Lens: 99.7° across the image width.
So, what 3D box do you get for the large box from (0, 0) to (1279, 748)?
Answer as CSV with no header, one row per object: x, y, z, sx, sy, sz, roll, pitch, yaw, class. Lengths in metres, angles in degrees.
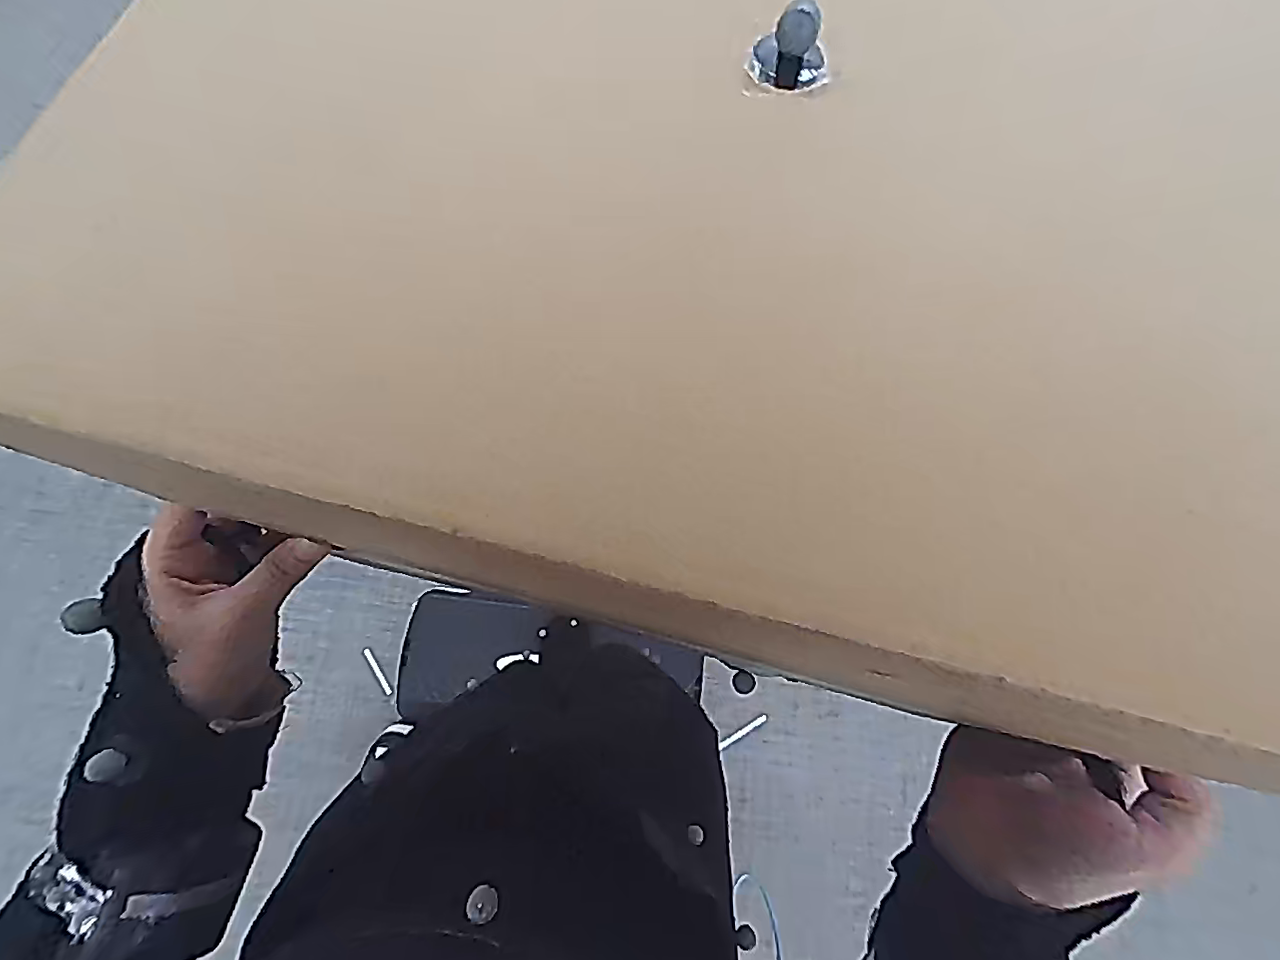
0.020,-0.081,0.308,0.408,0.320,0.320,13,74,3,large box
